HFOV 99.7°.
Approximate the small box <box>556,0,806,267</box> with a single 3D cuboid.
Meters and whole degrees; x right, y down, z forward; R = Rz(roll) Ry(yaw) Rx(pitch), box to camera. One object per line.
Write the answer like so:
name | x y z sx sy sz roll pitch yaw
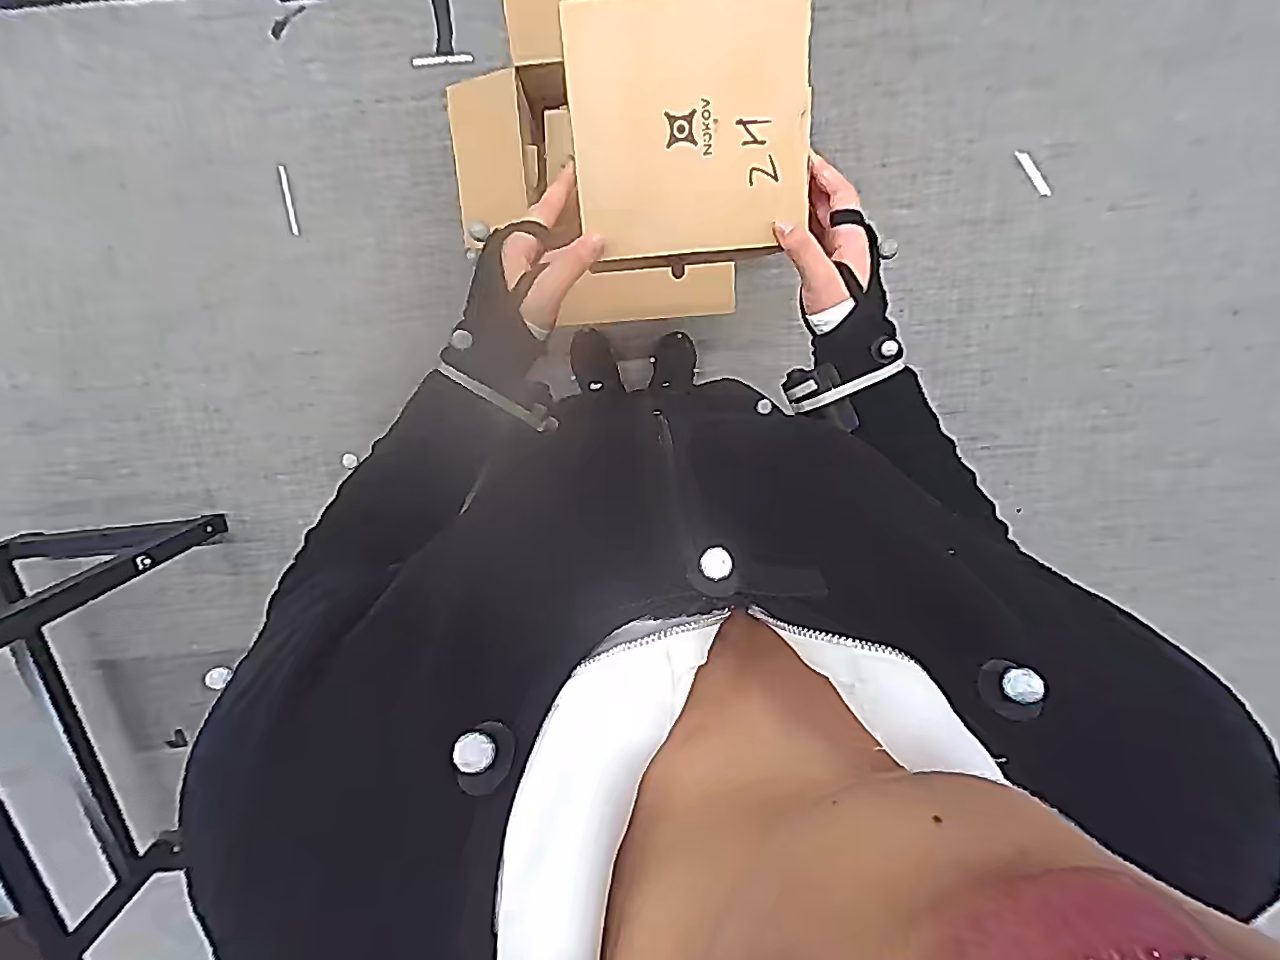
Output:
small box | 0.030 -0.283 0.471 0.179 0.176 0.168 -6 109 -2
